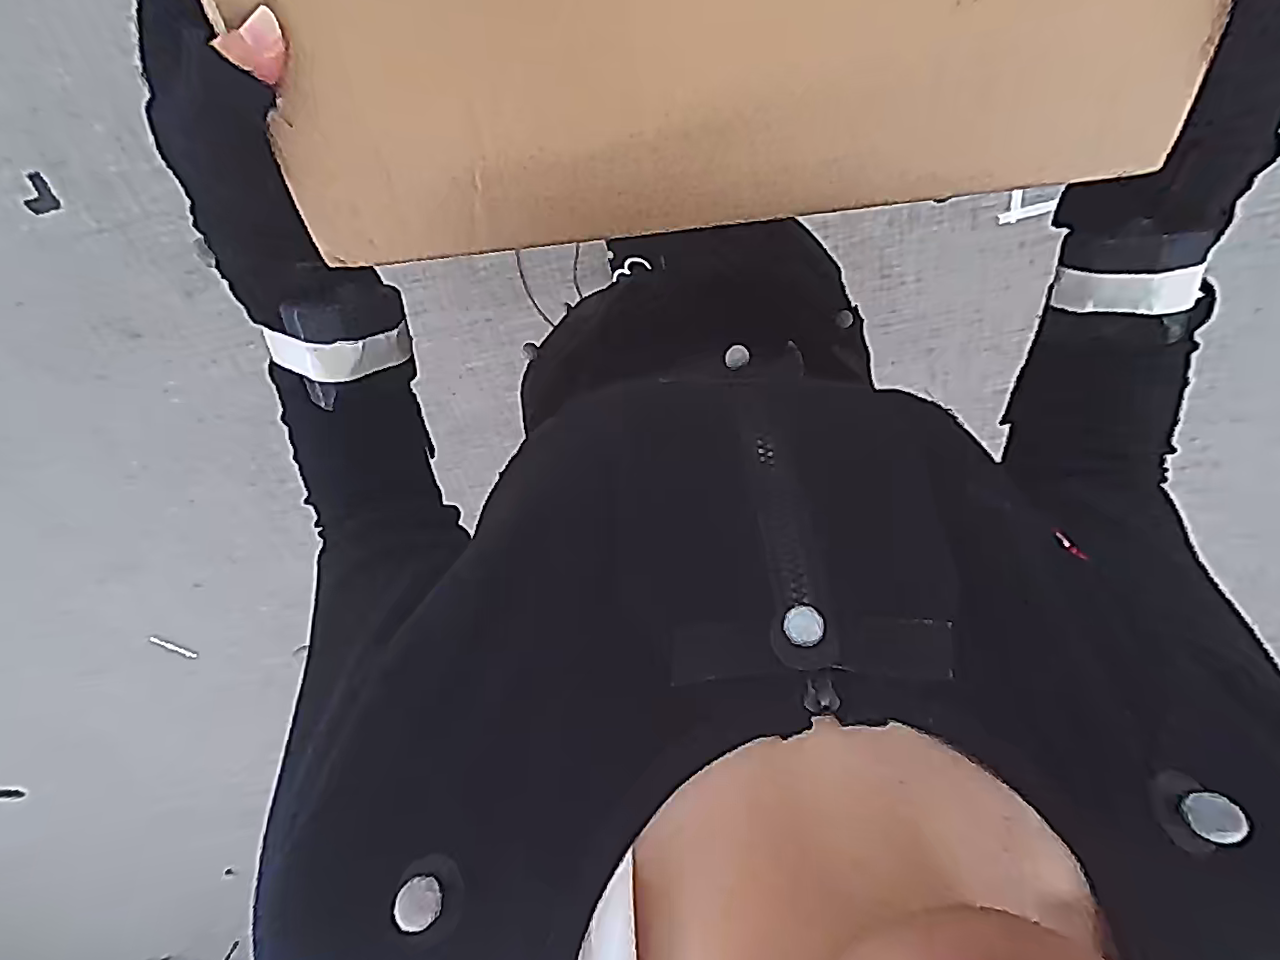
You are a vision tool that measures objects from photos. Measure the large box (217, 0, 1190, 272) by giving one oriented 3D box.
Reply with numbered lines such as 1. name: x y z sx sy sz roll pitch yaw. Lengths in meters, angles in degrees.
1. large box: 0.021 -0.342 0.293 0.408 0.320 0.320 -6 128 3
